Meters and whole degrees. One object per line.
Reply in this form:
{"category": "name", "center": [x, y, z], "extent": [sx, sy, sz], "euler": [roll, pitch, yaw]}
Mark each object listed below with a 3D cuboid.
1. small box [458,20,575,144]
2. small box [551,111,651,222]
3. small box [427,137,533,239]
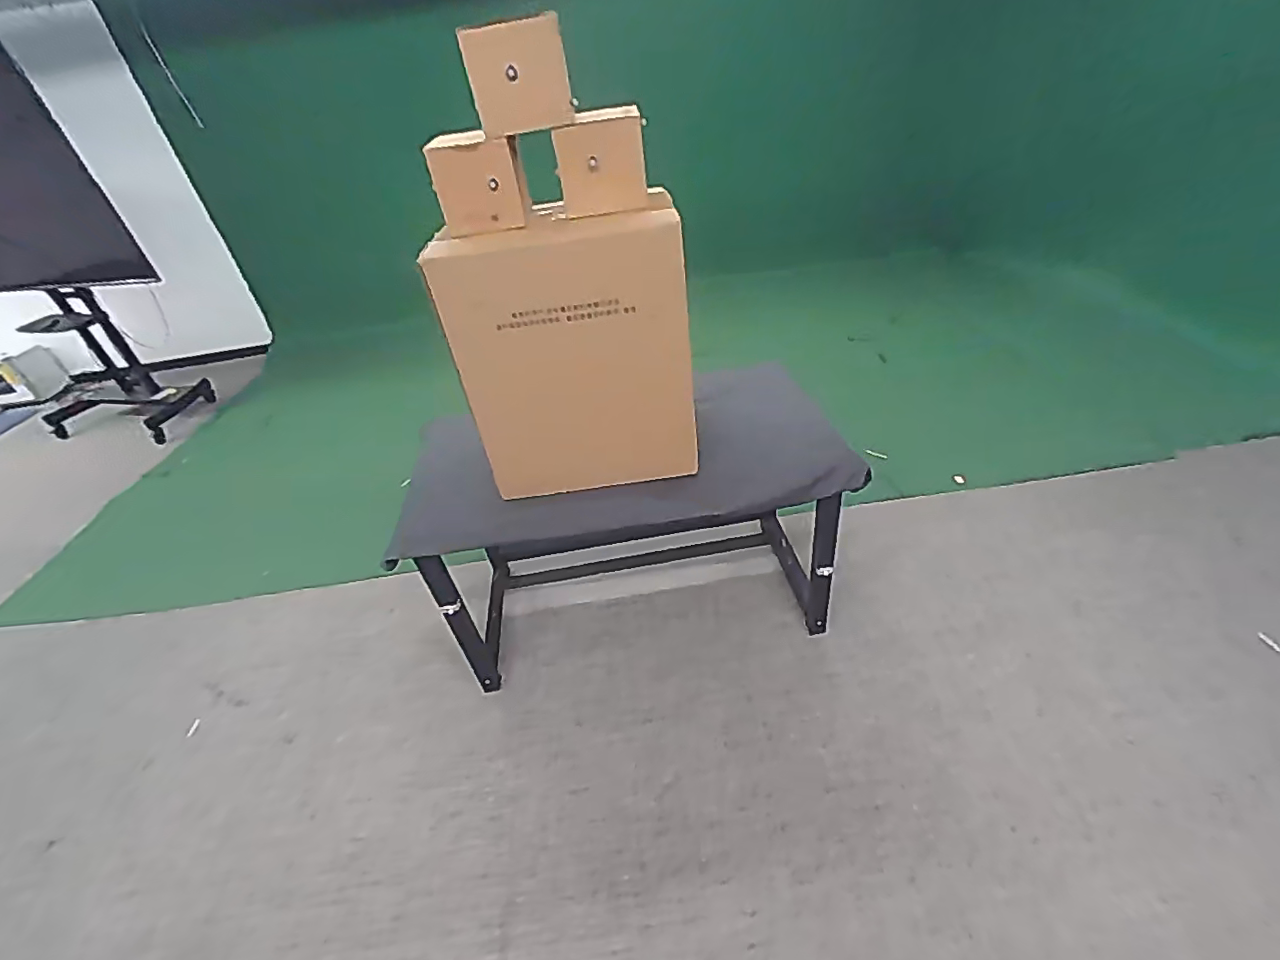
{"category": "small box", "center": [-0.228, -0.773, 1.055], "extent": [0.179, 0.176, 0.168], "euler": [-10, 39, 2]}
{"category": "small box", "center": [-0.079, -0.667, 1.156], "extent": [0.179, 0.176, 0.168], "euler": [-8, 40, 3]}
{"category": "small box", "center": [-0.332, -0.629, 1.162], "extent": [0.168, 0.176, 0.179], "euler": [-7, 38, 0]}
